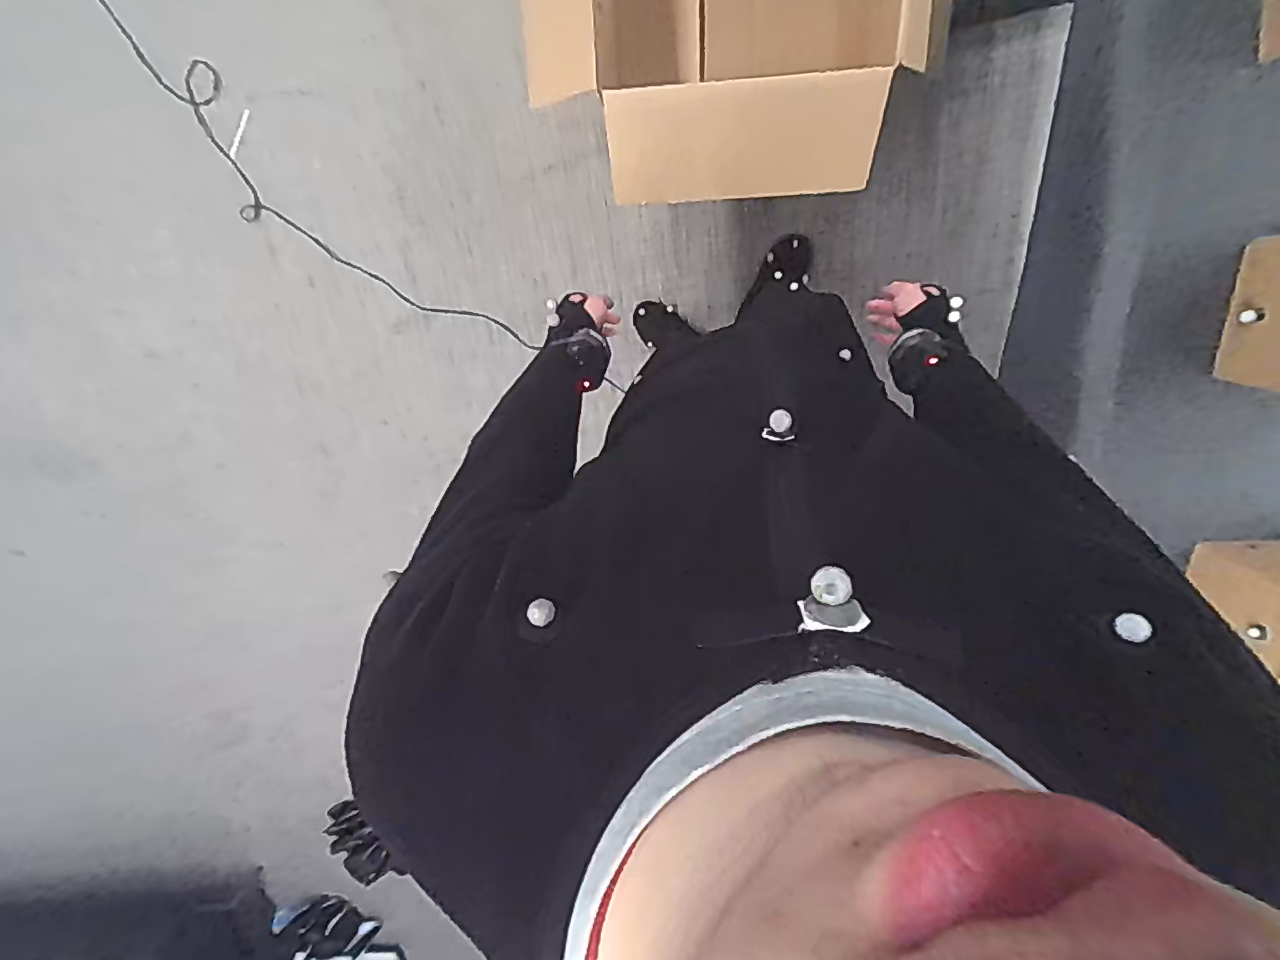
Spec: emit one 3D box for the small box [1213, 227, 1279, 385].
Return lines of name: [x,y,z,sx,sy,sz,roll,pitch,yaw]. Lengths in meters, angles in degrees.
small box: [0.834,-0.201,0.620,0.168,0.176,0.179,-5,113,5]
